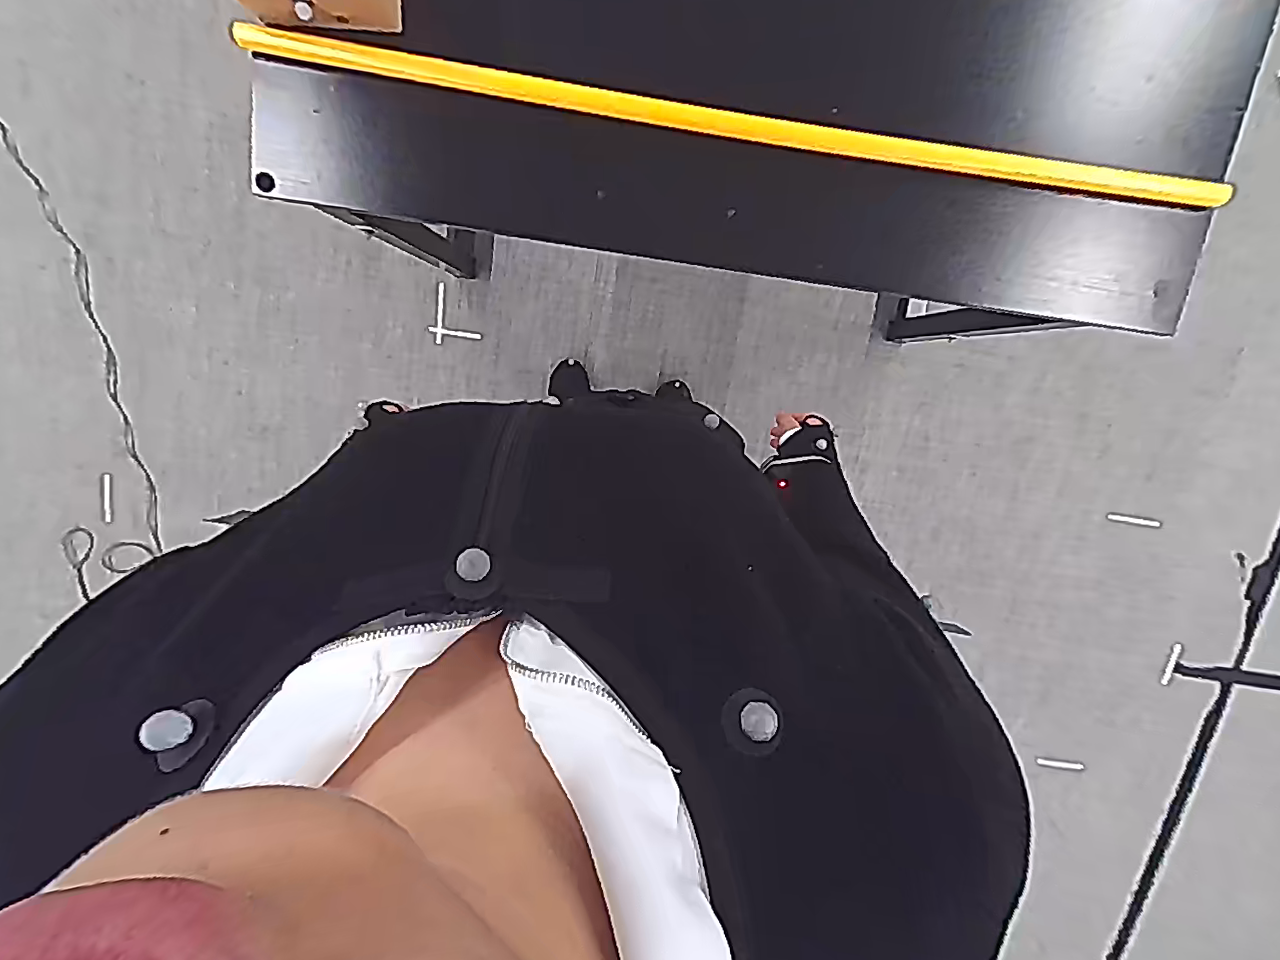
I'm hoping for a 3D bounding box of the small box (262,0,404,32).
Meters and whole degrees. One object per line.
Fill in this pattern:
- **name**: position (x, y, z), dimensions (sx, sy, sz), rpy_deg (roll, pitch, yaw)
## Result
- **small box**: position (-0.353, -0.608, 0.546), dimensions (0.168, 0.176, 0.179), rpy_deg (3, 103, -2)
